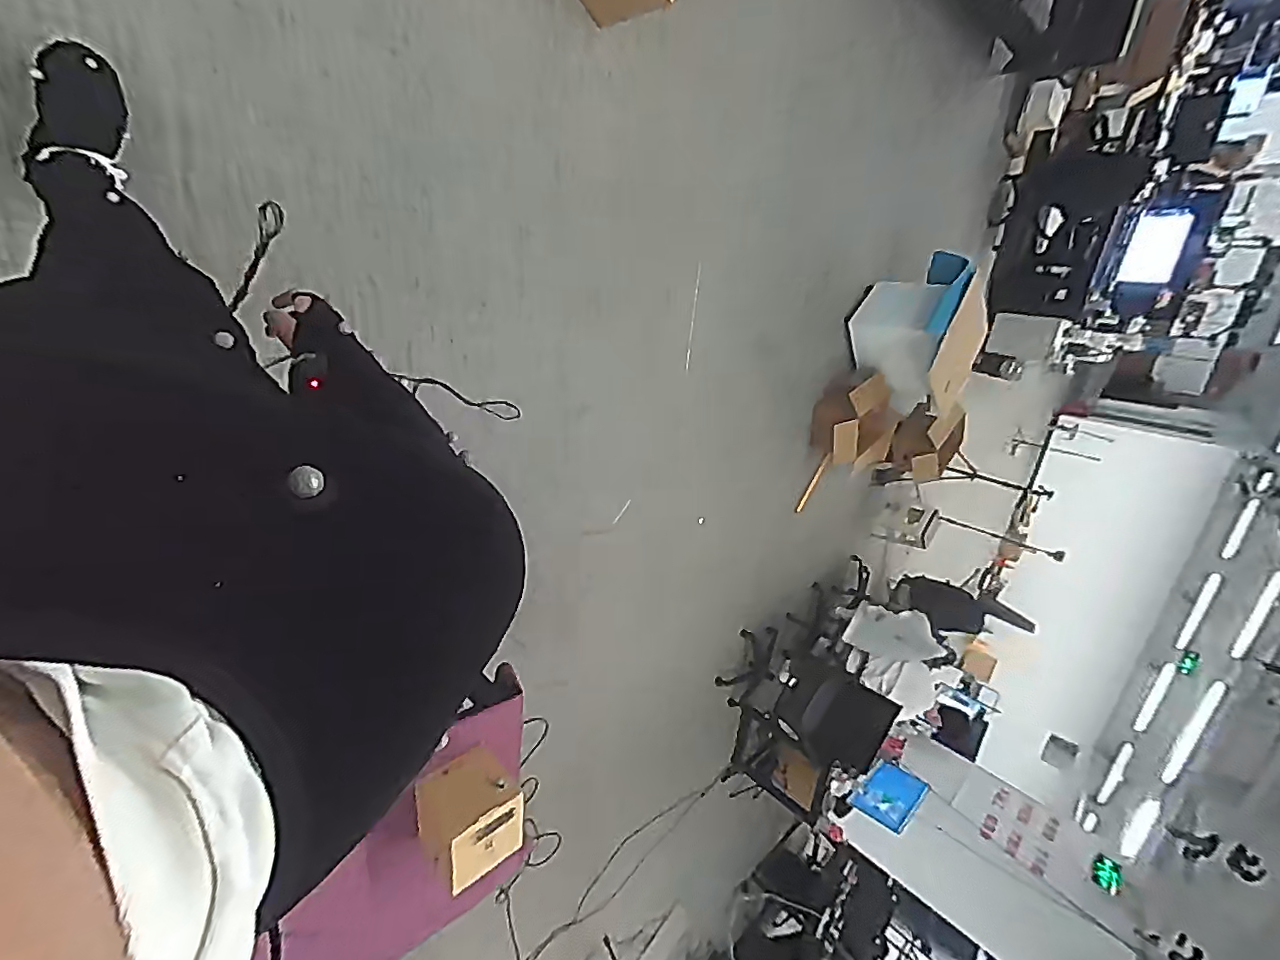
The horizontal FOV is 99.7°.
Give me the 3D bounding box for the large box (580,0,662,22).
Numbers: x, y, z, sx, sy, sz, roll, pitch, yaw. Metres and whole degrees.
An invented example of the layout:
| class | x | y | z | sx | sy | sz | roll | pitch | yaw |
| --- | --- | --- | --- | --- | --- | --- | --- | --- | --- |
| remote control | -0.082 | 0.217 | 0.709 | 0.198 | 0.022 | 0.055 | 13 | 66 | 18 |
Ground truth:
| class | x | y | z | sx | sy | sz | roll | pitch | yaw |
| --- | --- | --- | --- | --- | --- | --- | --- | --- | --- |
| large box | -0.088 | -1.561 | 1.441 | 0.408 | 0.320 | 0.320 | 21 | 92 | -49 |
